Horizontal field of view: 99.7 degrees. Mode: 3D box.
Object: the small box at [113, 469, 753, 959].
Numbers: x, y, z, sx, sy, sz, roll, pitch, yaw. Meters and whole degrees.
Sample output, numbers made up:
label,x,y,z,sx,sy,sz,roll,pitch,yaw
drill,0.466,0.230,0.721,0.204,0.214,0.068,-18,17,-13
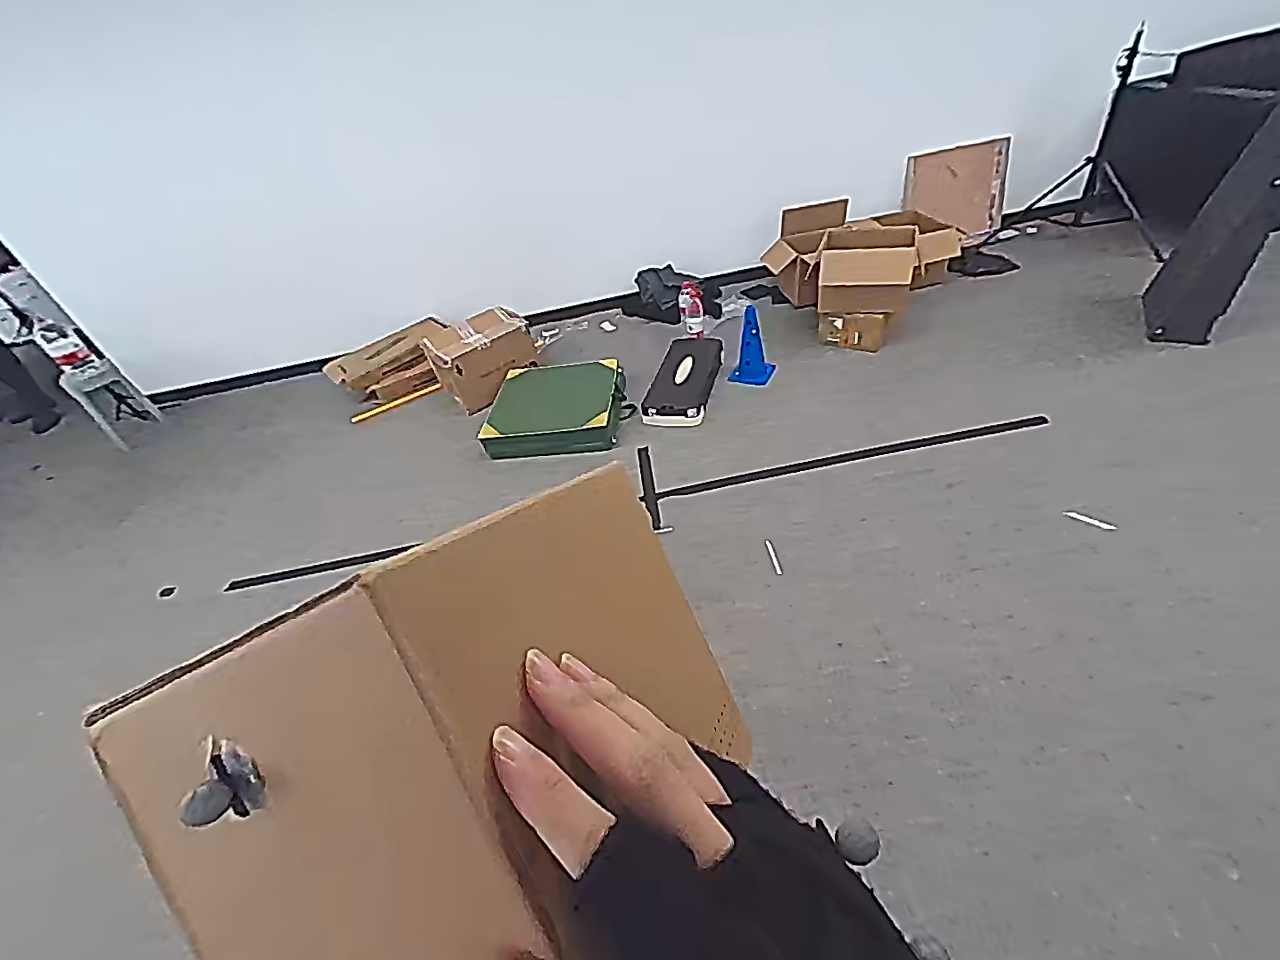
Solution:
label,x,y,z,sx,sy,sz,roll,pitch,yaw
small box,-0.073,0.117,0.249,0.179,0.176,0.168,-25,2,24
